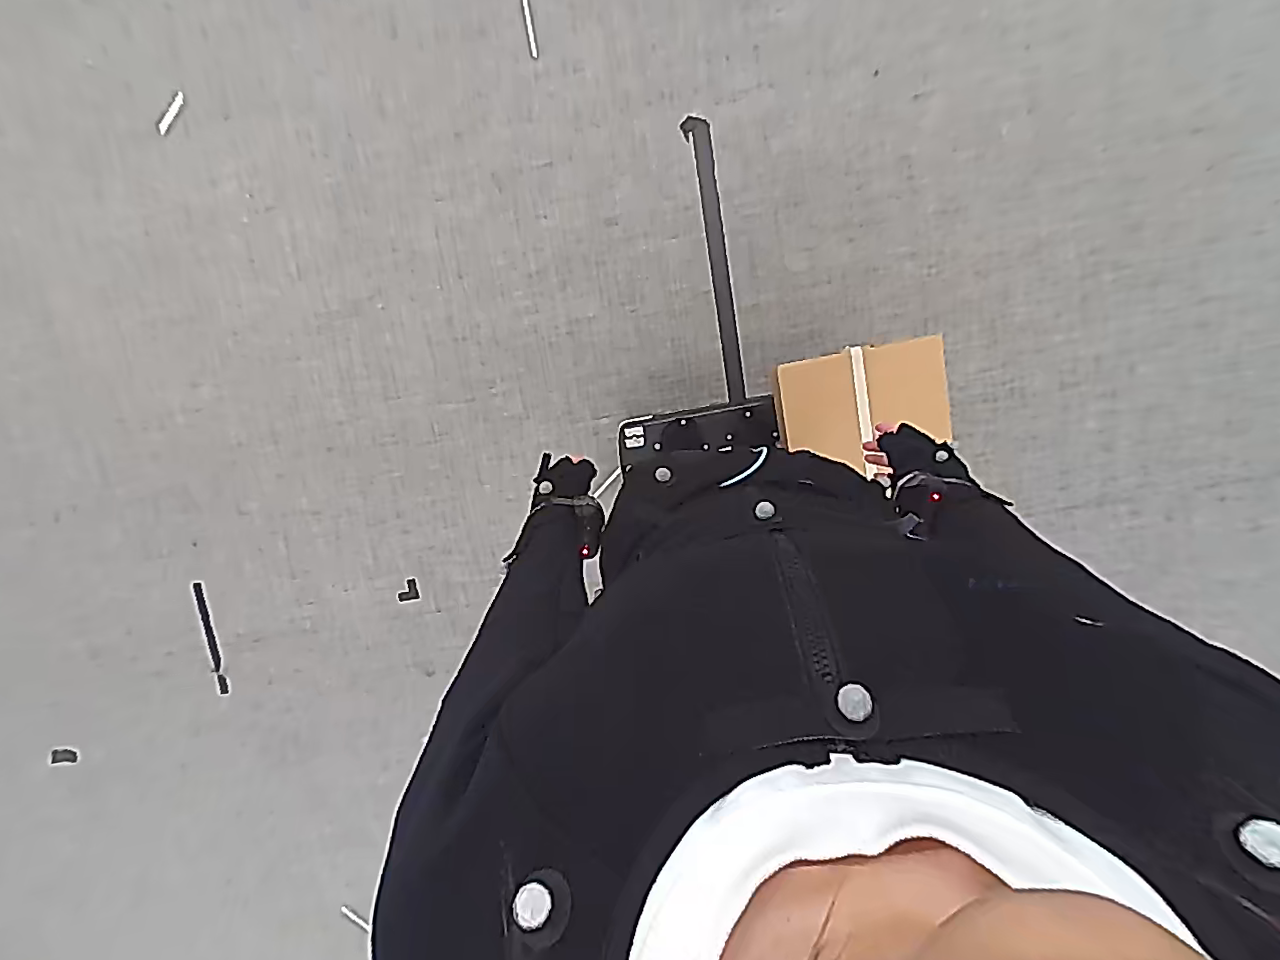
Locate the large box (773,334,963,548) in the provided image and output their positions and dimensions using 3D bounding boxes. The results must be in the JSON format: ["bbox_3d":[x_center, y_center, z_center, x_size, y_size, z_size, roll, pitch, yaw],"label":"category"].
[{"bbox_3d":[0.499,-0.096,1.246,0.320,0.320,0.408,-9,99,13],"label":"large box"}]
